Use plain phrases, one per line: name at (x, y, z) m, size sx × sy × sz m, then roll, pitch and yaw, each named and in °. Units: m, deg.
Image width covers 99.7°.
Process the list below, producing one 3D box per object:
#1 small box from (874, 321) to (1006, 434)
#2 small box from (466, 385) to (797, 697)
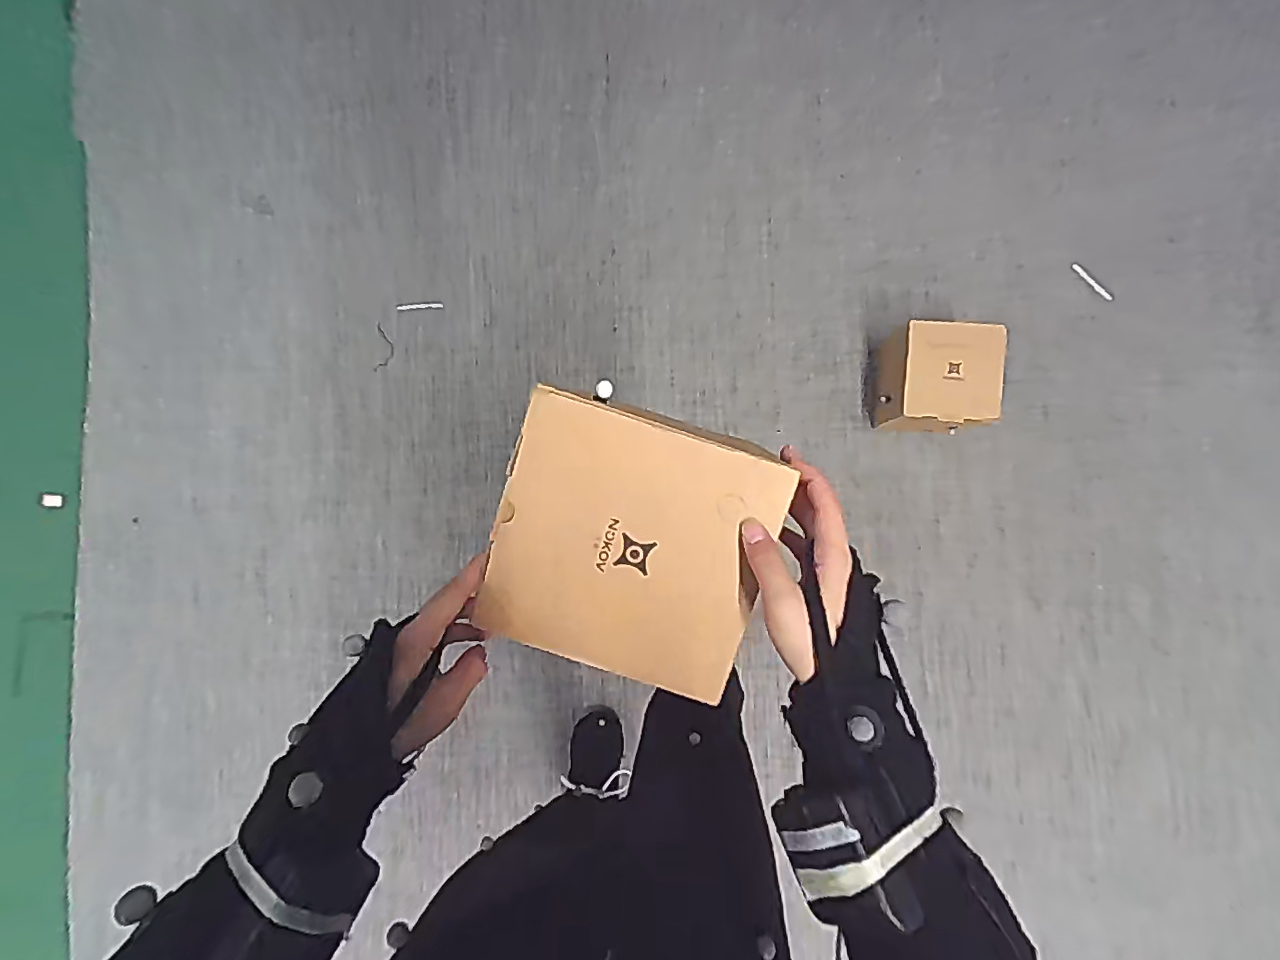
small box at (0.557, -0.186, 1.026) m, size 0.168 × 0.176 × 0.179 m, roll 5°, pitch 87°, yaw 5°
small box at (-0.004, 0.029, 0.421) m, size 0.179 × 0.176 × 0.168 m, roll 18°, pitch 99°, yaw 2°
